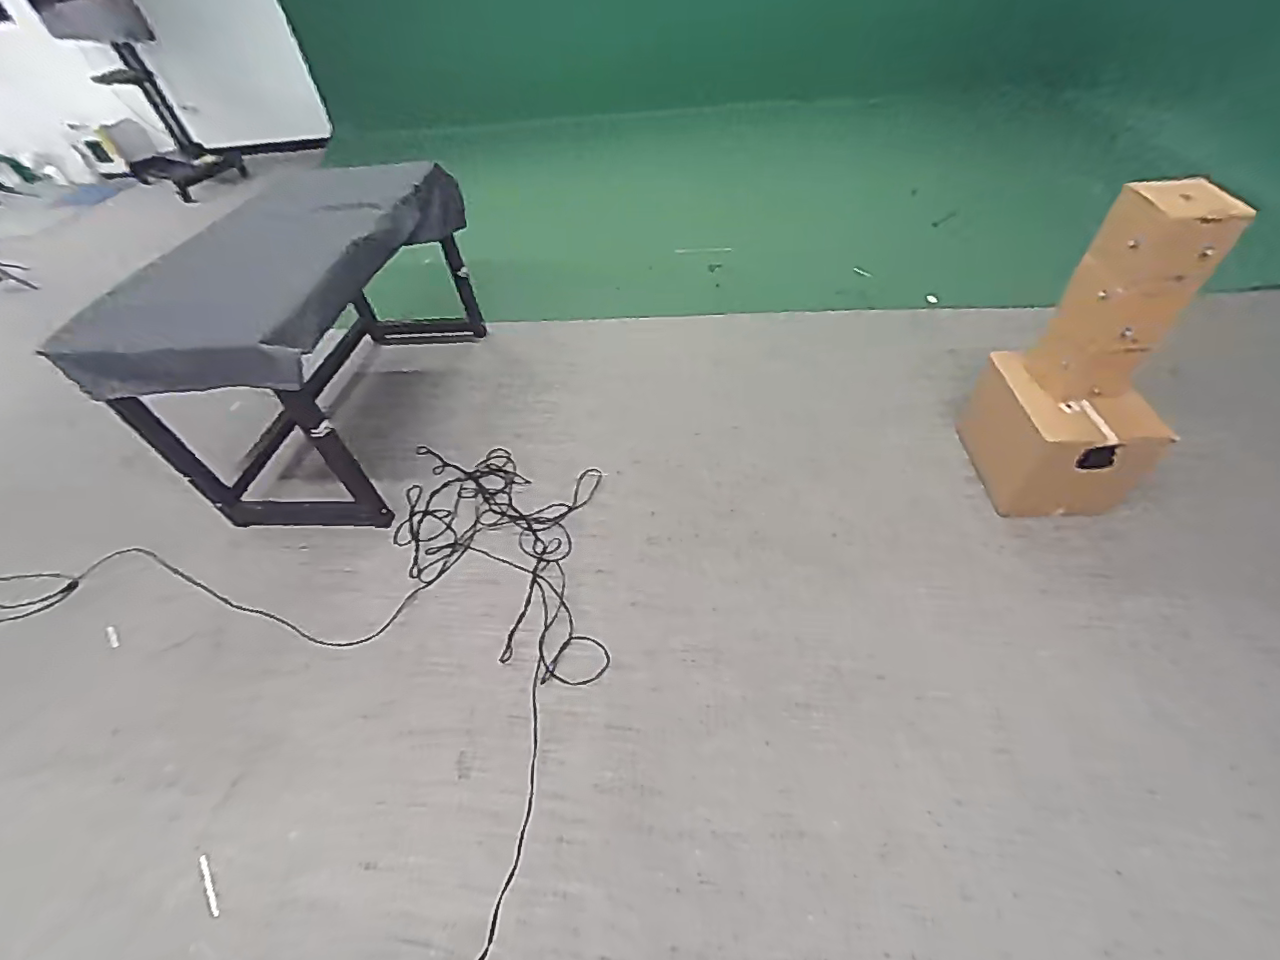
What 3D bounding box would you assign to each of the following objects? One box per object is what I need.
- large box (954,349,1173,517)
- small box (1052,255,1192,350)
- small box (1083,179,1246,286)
[{"bbox_3d":[1.213,-0.141,1.615,0.320,0.320,0.408,-3,49,6],"label":"large box"},{"bbox_3d":[1.178,-0.444,1.343,0.168,0.176,0.179,-3,49,5],"label":"small box"},{"bbox_3d":[1.167,-0.553,1.222,0.168,0.176,0.179,-2,48,4],"label":"small box"}]
